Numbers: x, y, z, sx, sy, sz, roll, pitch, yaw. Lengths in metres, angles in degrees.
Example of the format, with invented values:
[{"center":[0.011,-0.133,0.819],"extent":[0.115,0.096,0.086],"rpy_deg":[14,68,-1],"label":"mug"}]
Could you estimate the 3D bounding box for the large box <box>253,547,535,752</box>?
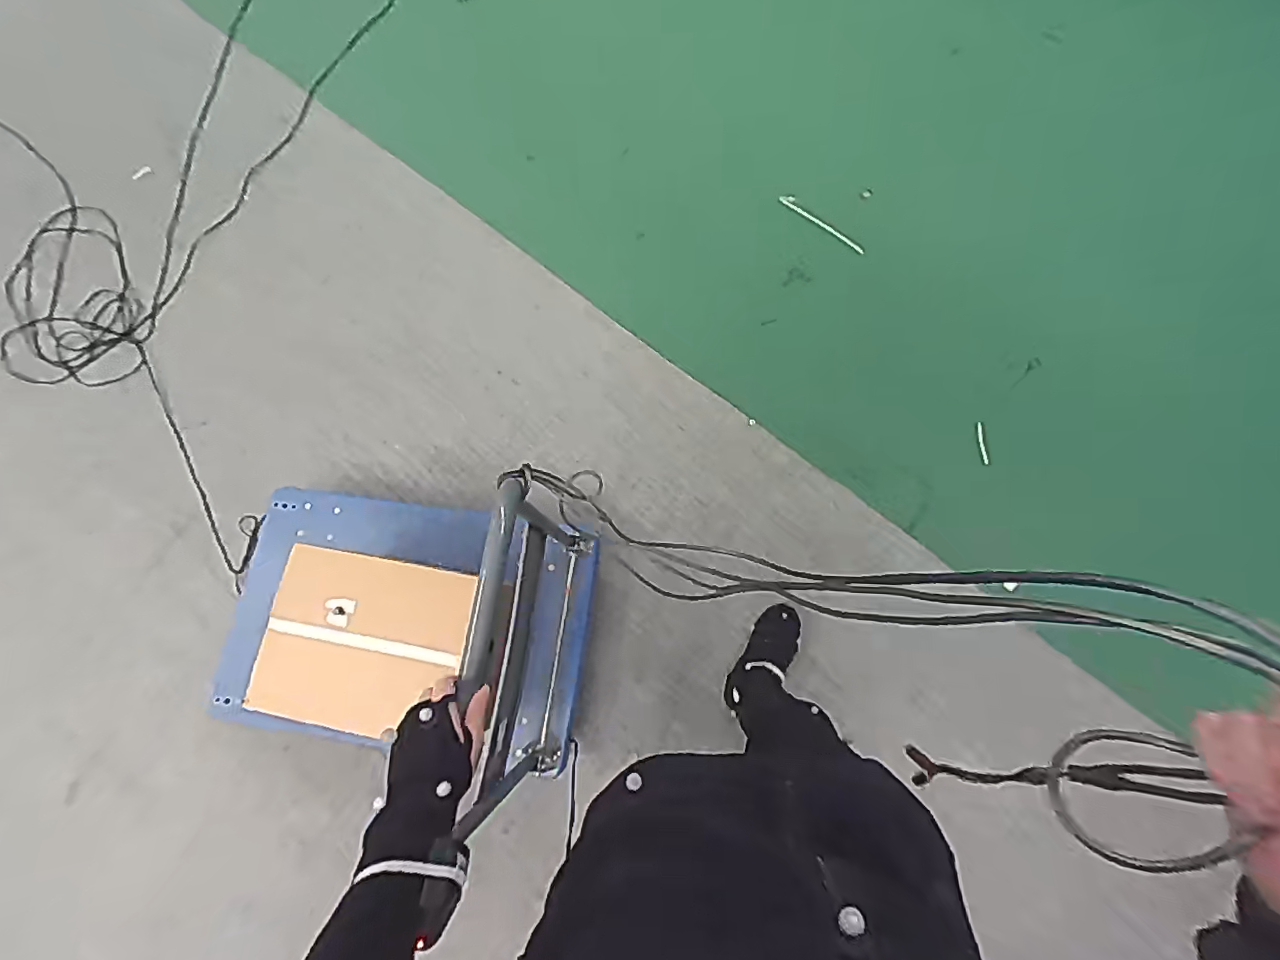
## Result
[{"center":[-0.477,0.336,1.141],"extent":[0.408,0.320,0.320],"rpy_deg":[9,77,7],"label":"large box"}]
